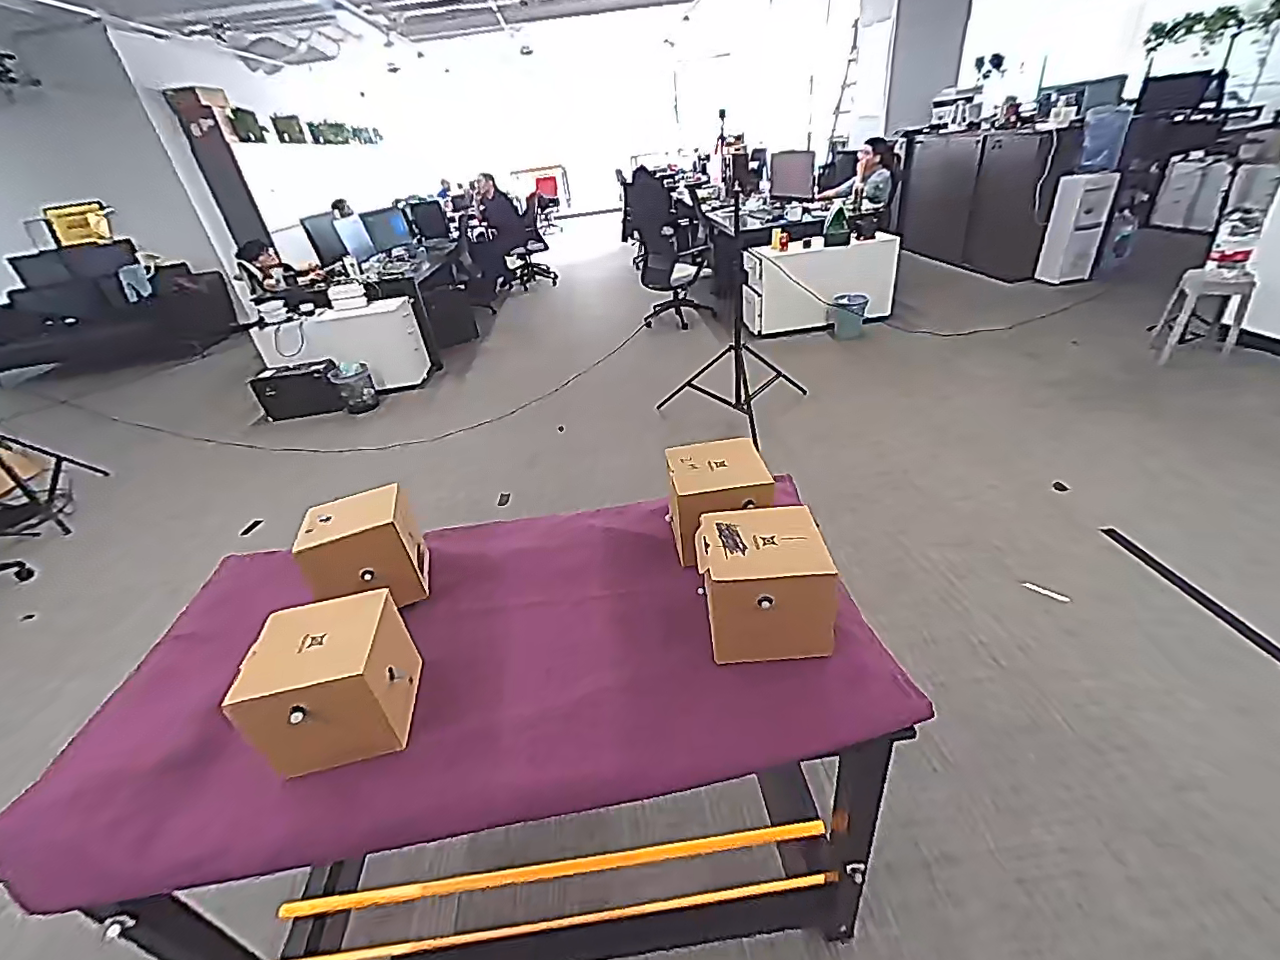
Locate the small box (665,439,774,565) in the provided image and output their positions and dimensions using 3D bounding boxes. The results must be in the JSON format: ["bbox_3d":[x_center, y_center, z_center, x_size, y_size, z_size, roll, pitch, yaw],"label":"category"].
[{"bbox_3d":[0.149,0.042,1.045,0.179,0.176,0.168,-9,33,-1],"label":"small box"}]

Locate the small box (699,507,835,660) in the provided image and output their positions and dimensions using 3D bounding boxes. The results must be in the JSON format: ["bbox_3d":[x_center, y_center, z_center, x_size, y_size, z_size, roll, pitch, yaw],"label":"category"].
[{"bbox_3d":[0.192,0.162,0.846,0.179,0.176,0.168,-5,31,4],"label":"small box"}]

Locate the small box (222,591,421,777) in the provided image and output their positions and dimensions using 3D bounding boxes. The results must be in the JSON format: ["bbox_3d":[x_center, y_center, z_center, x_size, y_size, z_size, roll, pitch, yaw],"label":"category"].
[{"bbox_3d":[-0.438,0.293,0.784,0.179,0.176,0.168,-12,32,-6],"label":"small box"}]
